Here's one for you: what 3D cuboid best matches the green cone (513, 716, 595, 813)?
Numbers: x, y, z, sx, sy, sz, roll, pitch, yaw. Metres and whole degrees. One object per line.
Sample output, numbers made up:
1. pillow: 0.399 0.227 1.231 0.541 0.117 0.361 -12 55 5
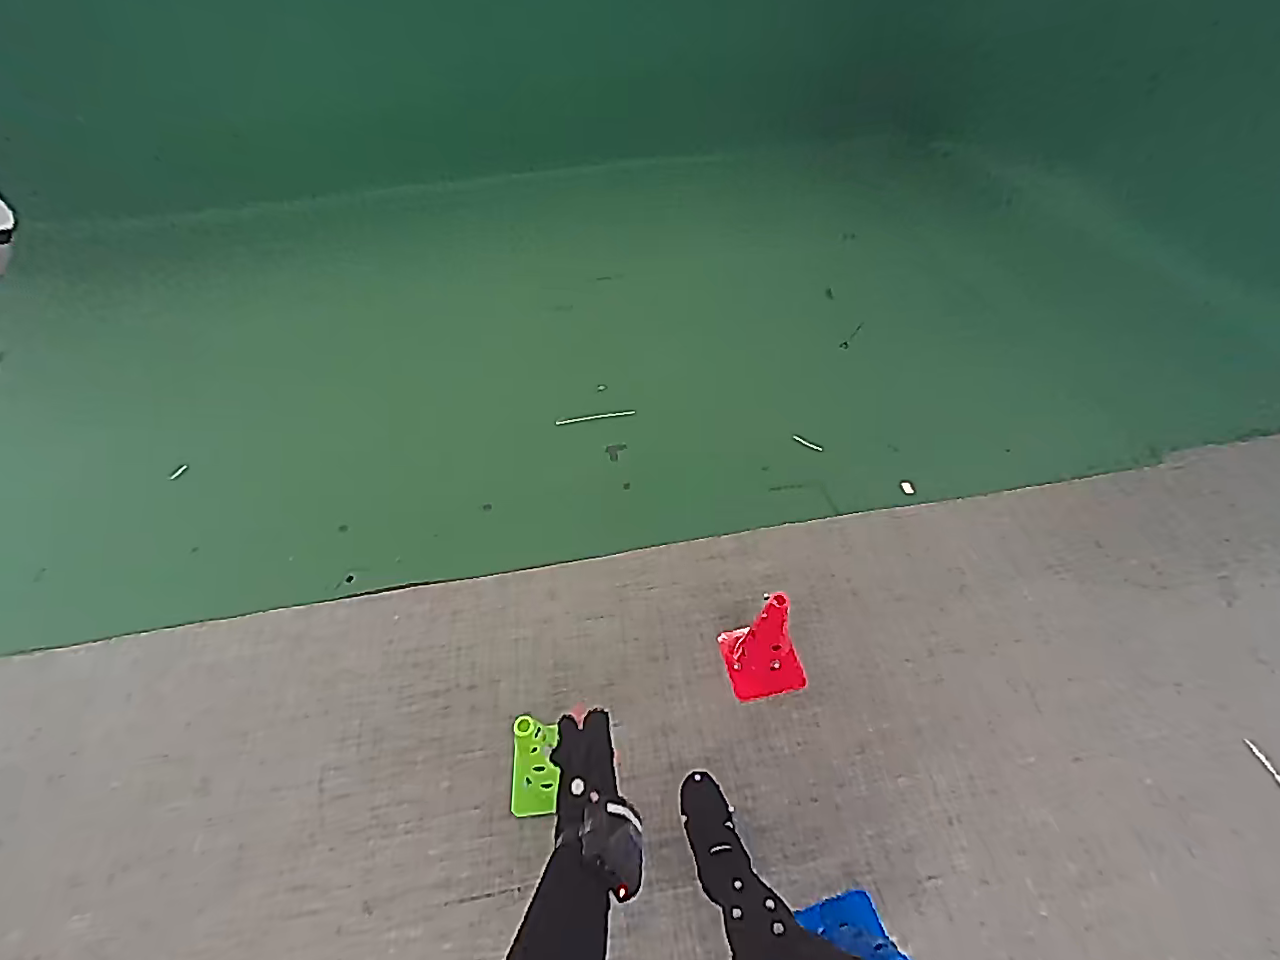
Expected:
1. green cone: -0.225 0.599 1.215 0.200 0.368 0.202 -7 51 -2
